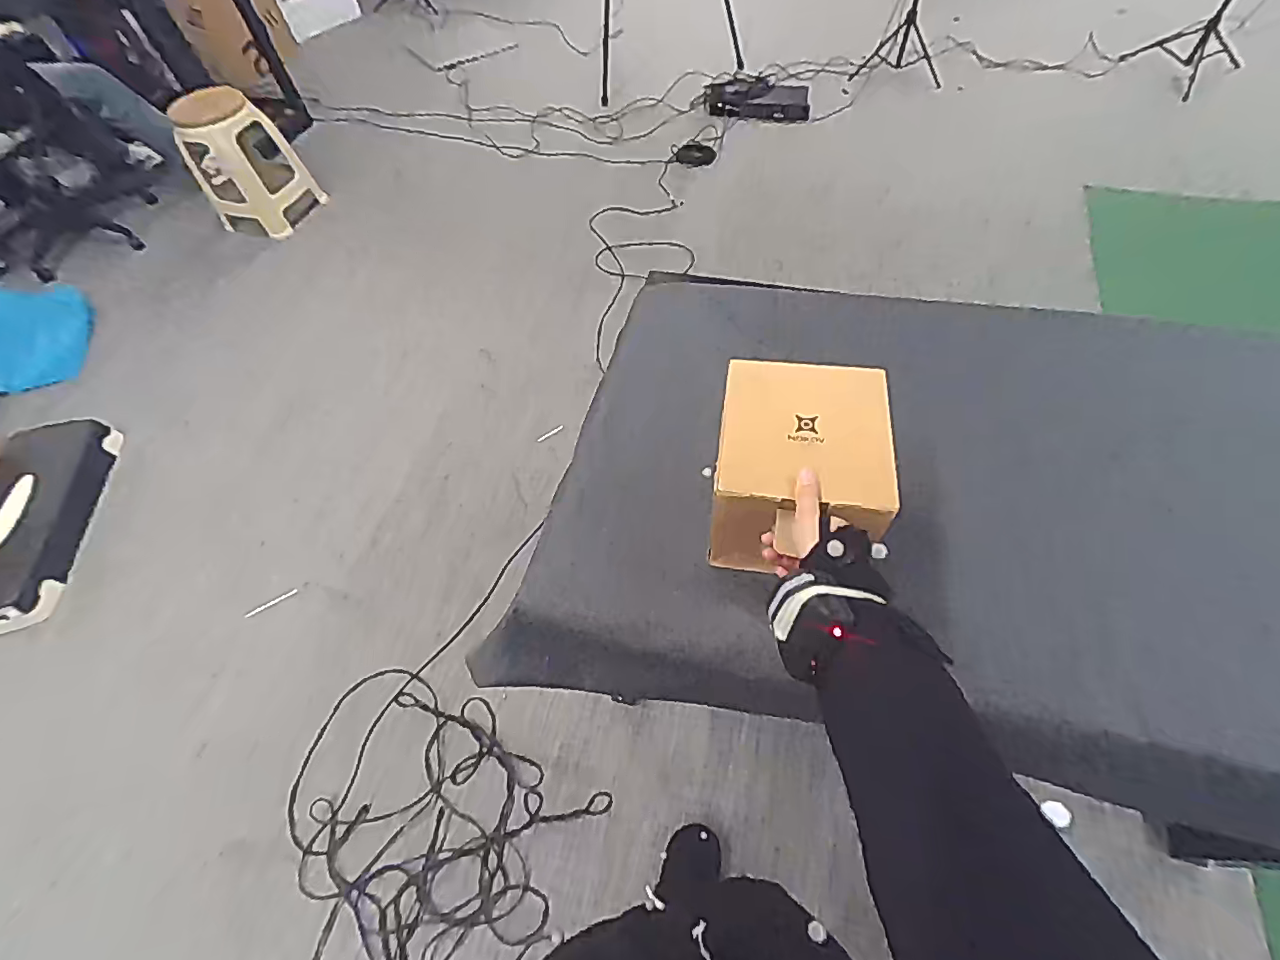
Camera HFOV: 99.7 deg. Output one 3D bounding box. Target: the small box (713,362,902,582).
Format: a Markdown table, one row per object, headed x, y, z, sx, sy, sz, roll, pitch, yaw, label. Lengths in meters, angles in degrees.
| x | y | z | sx | sy | sz | roll | pitch | yaw | label |
| --- | --- | --- | --- | --- | --- | --- | --- | --- | --- |
| 0.174 | -0.006 | 0.607 | 0.168 | 0.176 | 0.179 | 6 | 58 | 8 | small box |
